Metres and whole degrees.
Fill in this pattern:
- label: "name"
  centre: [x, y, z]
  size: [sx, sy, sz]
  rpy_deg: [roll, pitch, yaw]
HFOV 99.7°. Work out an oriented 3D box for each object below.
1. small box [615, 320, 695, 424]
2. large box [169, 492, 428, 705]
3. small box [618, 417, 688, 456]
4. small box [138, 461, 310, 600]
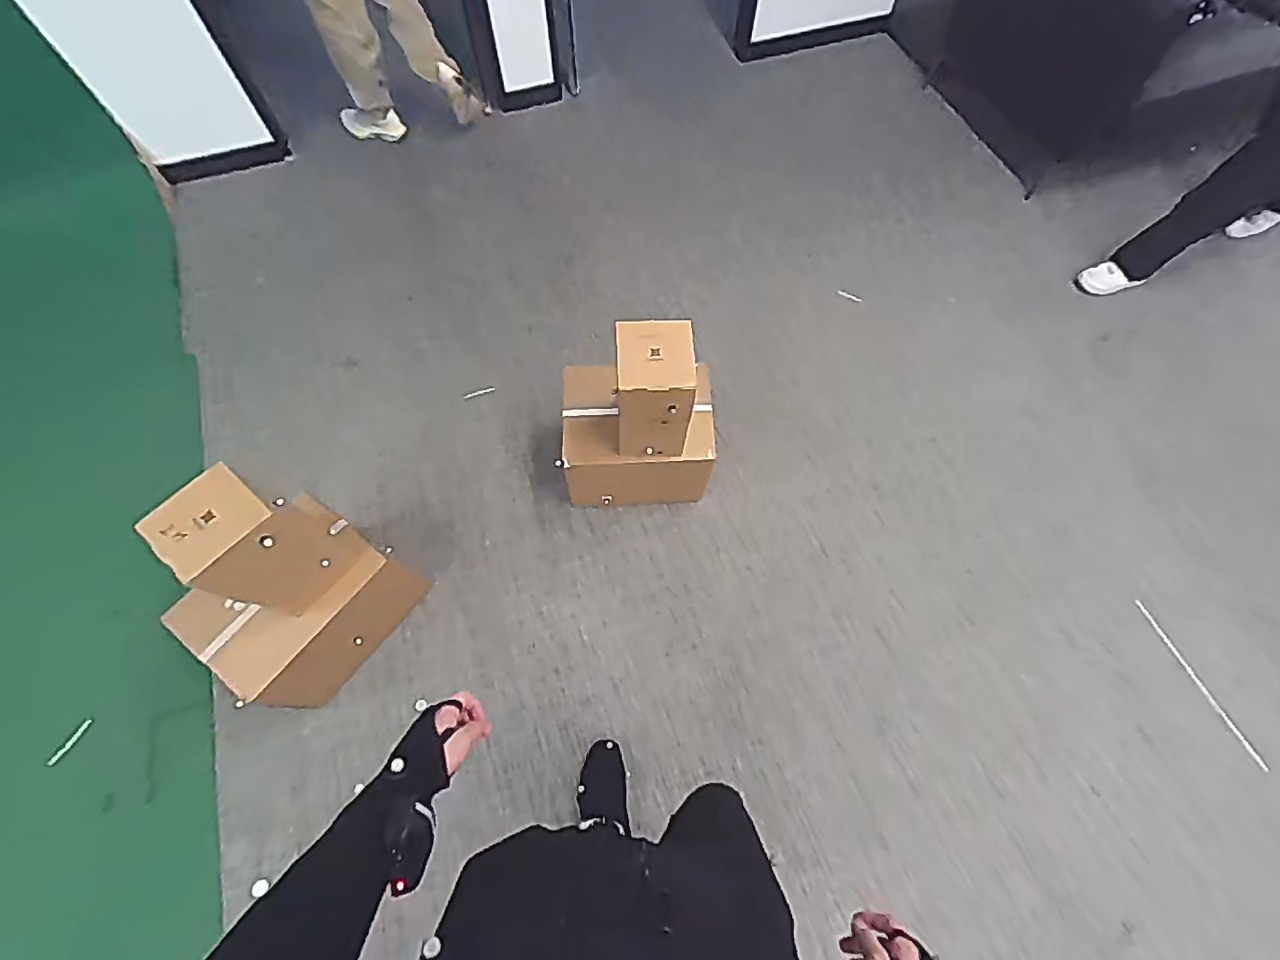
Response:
- label: "small box"
  centre: [0.029, -0.234, 1.207]
  size: [0.168, 0.176, 0.179]
  rpy_deg: [-1, 67, -3]
- label: "large box"
  centre: [-0.837, 0.312, 1.392]
  size: [0.320, 0.320, 0.408]
  rpy_deg: [33, 71, 14]
- label: "small box"
  centre: [0.028, -0.176, 1.360]
  size: [0.168, 0.176, 0.179]
  rpy_deg: [0, 68, -1]
- label: "small box"
  centre: [-0.776, 0.102, 1.037]
  size: [0.168, 0.176, 0.179]
  rpy_deg: [38, 71, 15]
